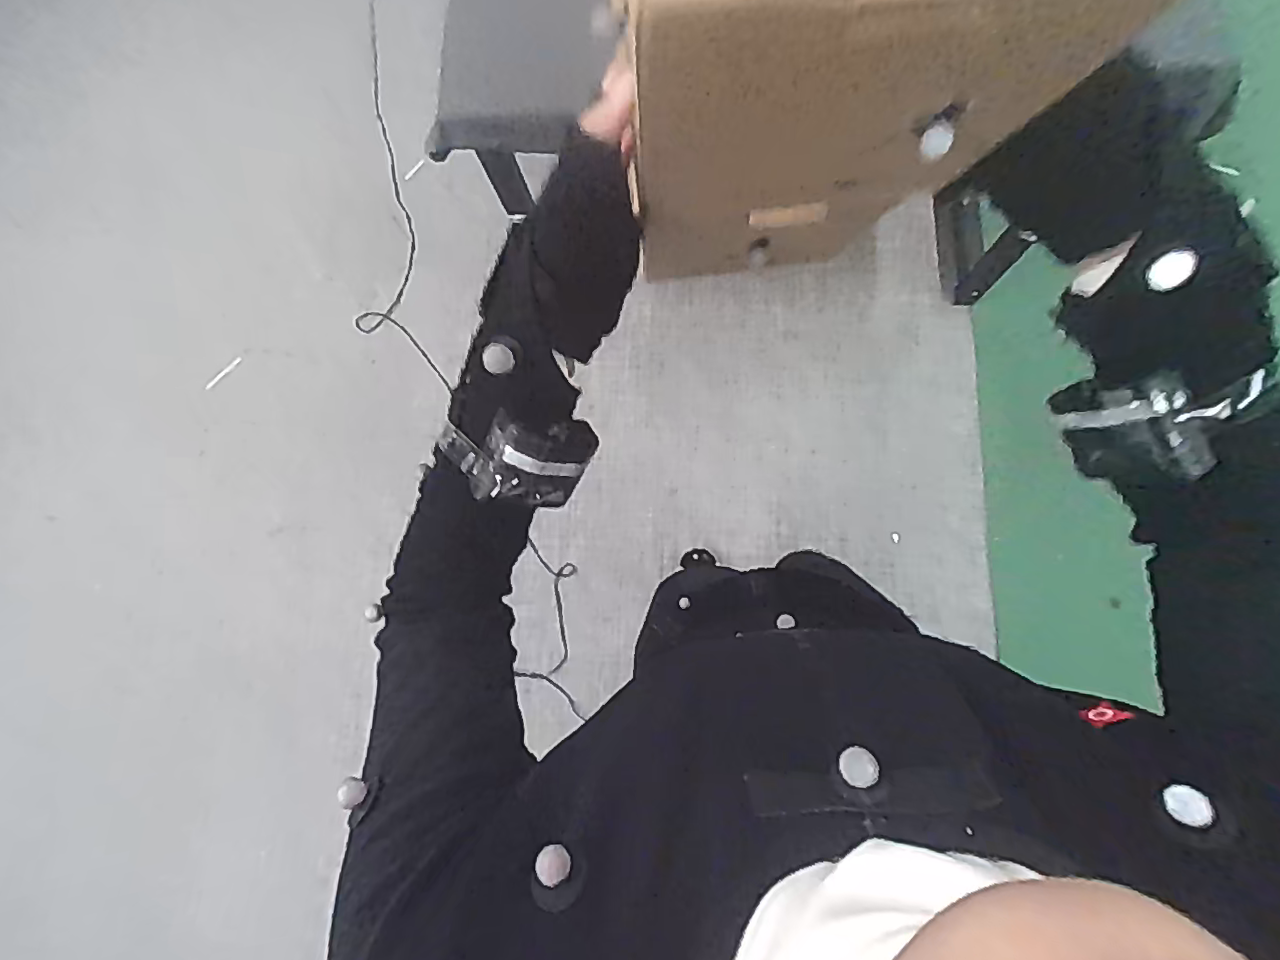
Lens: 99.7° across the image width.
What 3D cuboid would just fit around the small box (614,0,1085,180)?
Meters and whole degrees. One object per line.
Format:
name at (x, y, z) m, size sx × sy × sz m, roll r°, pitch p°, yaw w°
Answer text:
small box at (0.070, -0.237, 0.206) m, size 0.168 × 0.176 × 0.179 m, roll -5°, pitch 96°, yaw 0°

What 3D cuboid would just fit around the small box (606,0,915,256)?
small box at (0.067, -0.264, 0.367) m, size 0.168 × 0.176 × 0.179 m, roll -7°, pitch 98°, yaw 1°
